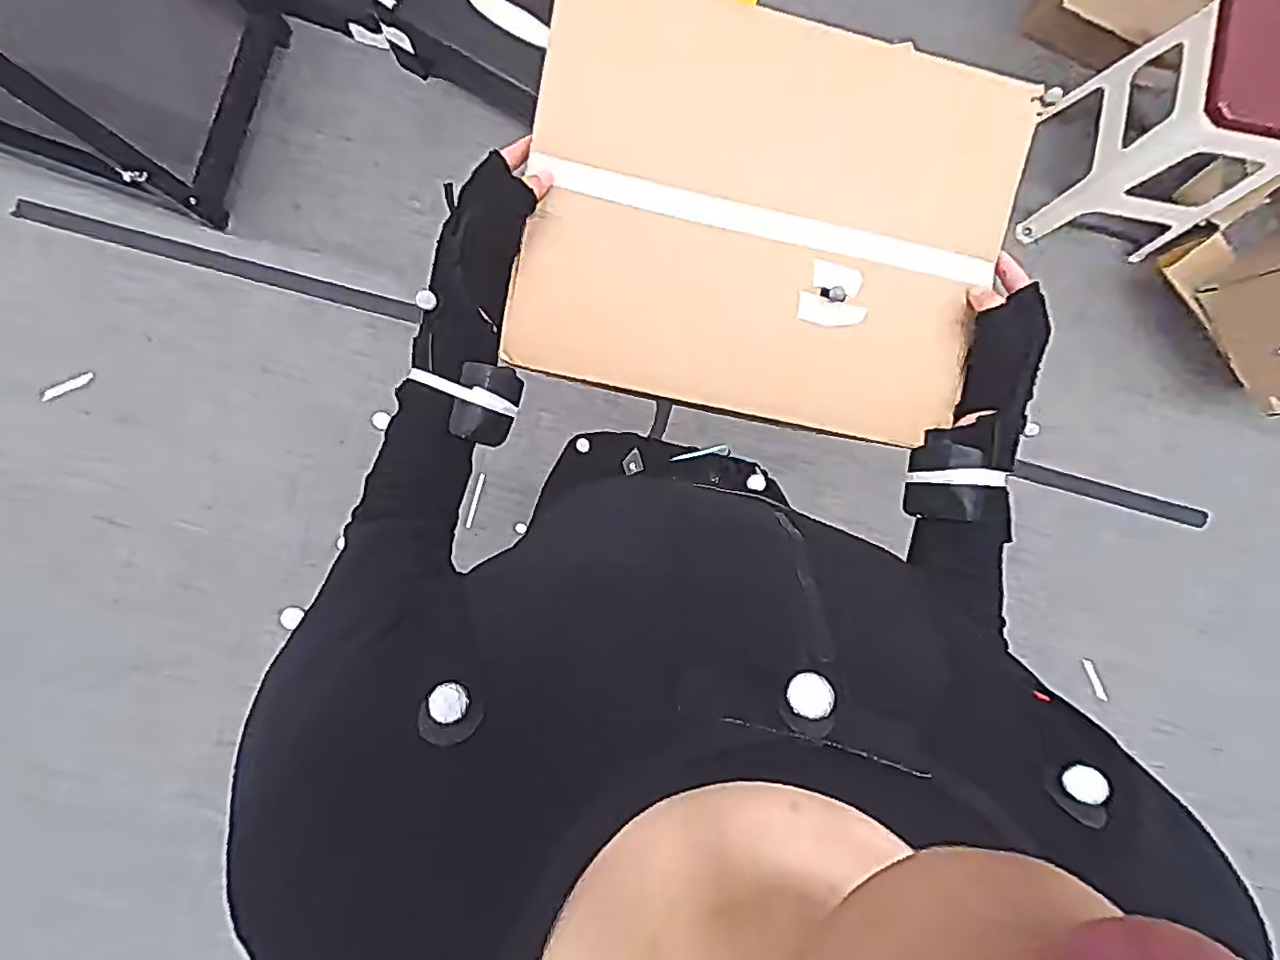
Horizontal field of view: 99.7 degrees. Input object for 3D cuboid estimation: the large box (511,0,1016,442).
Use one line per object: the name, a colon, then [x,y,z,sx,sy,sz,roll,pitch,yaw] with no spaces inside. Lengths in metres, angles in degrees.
large box: [0.094,-0.239,0.616,0.408,0.320,0.320,11,99,-6]
